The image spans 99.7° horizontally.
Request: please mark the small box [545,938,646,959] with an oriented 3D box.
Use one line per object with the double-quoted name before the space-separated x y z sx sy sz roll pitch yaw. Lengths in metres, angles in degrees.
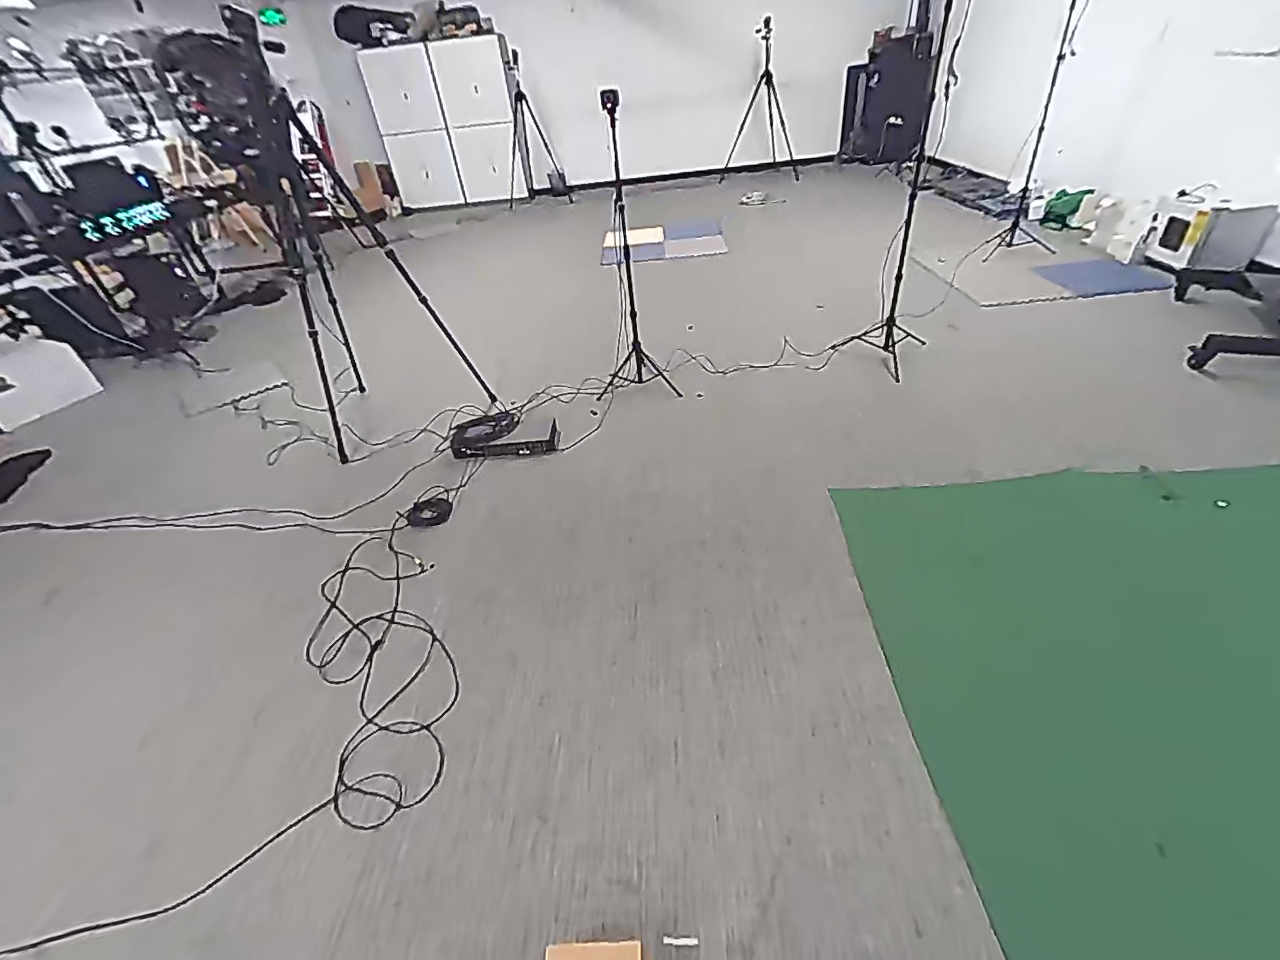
"small box" -0.074 0.940 0.960 0.179 0.176 0.168 -5 39 2
